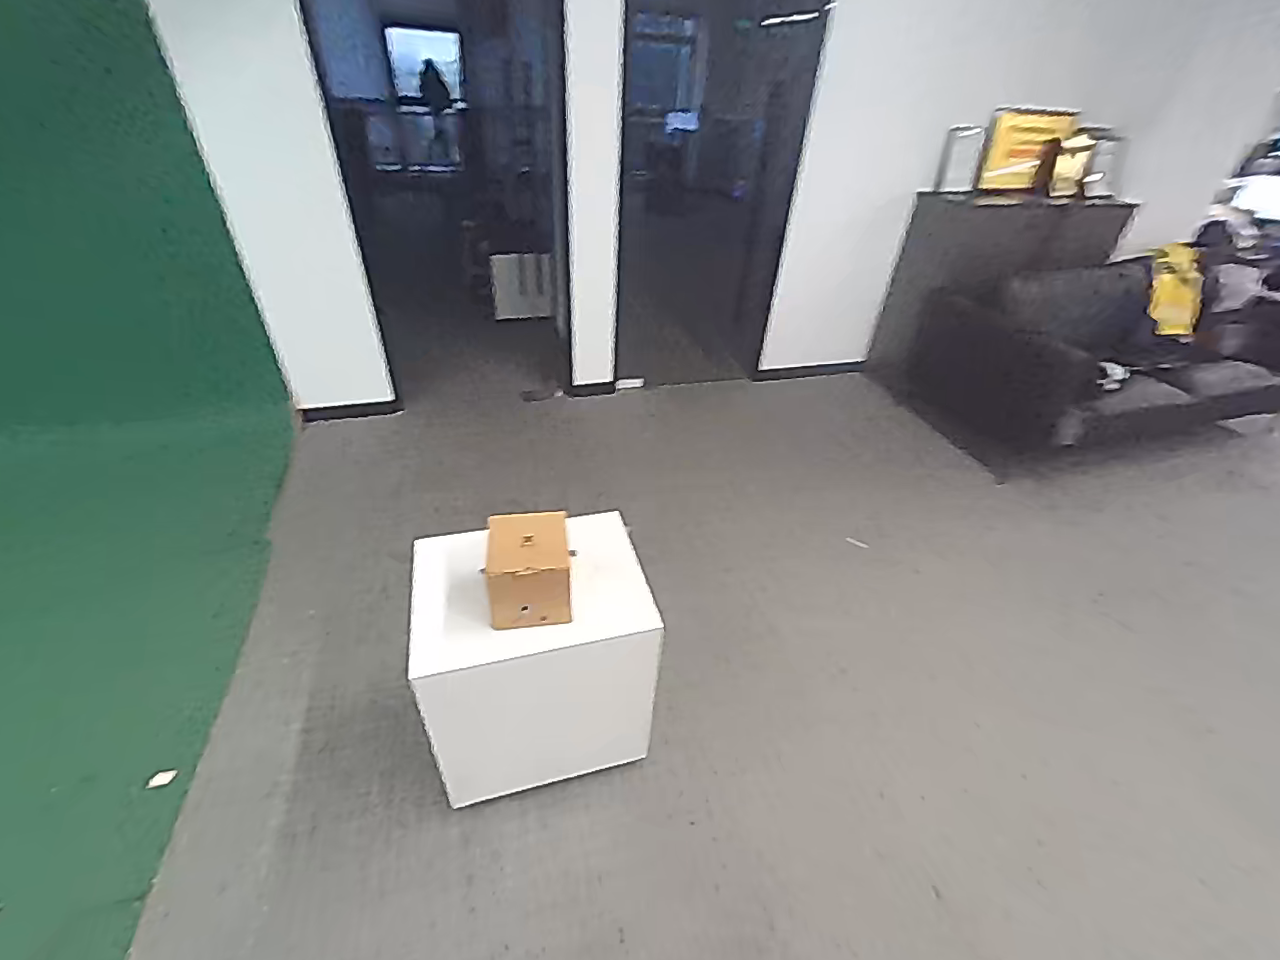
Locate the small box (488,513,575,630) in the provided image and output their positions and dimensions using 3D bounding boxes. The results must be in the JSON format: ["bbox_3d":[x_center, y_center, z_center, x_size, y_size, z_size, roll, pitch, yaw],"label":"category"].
[{"bbox_3d":[-0.226,0.191,1.147,0.168,0.176,0.179,-4,37,-10],"label":"small box"}]
